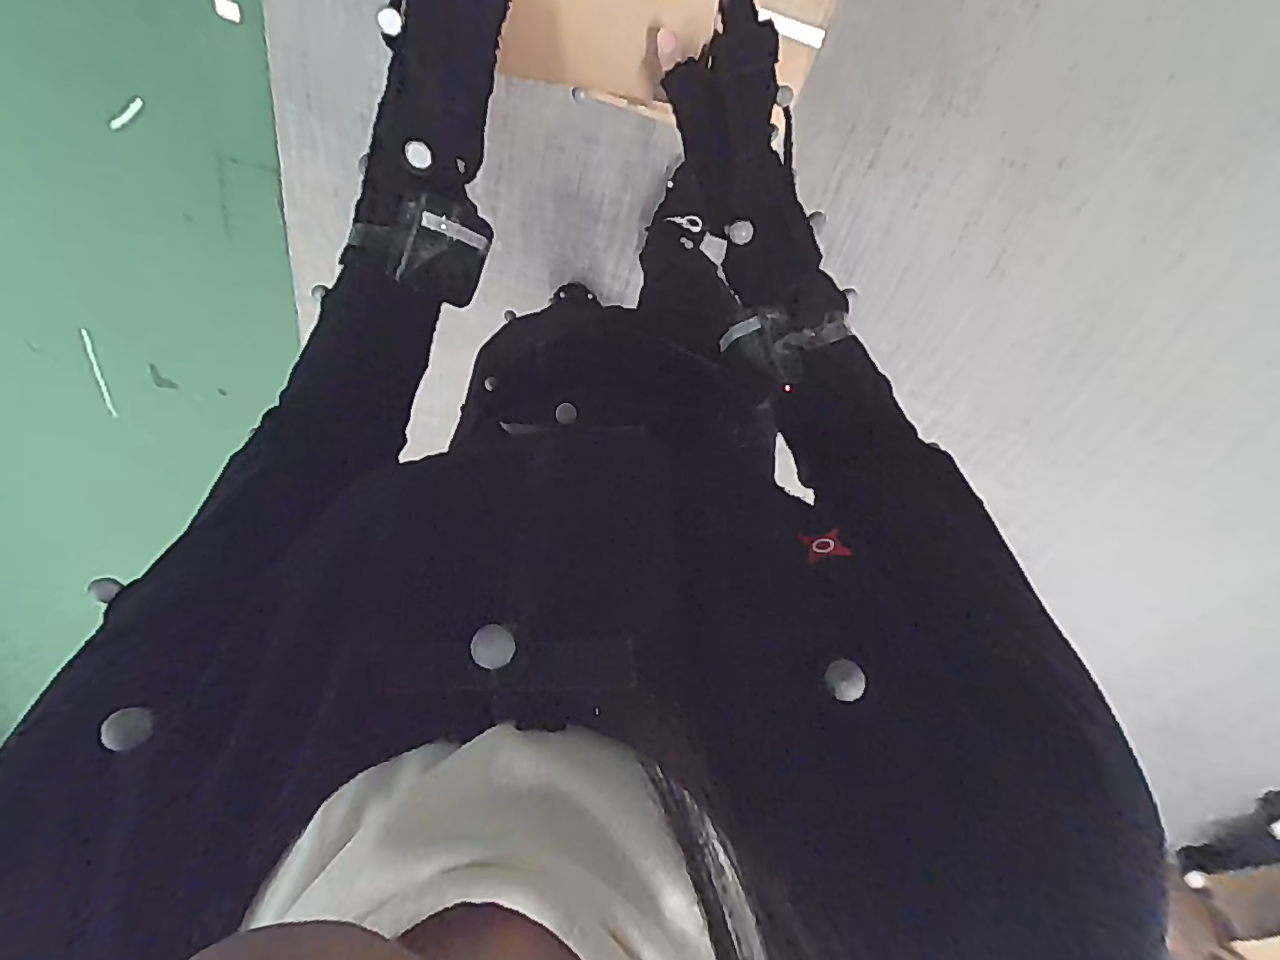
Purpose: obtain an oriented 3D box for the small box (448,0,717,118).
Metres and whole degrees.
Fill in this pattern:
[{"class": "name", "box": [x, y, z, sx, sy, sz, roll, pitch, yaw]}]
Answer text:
[{"class": "small box", "box": [-0.029, -0.381, 0.384, 0.179, 0.176, 0.168, 7, 134, -2]}]
